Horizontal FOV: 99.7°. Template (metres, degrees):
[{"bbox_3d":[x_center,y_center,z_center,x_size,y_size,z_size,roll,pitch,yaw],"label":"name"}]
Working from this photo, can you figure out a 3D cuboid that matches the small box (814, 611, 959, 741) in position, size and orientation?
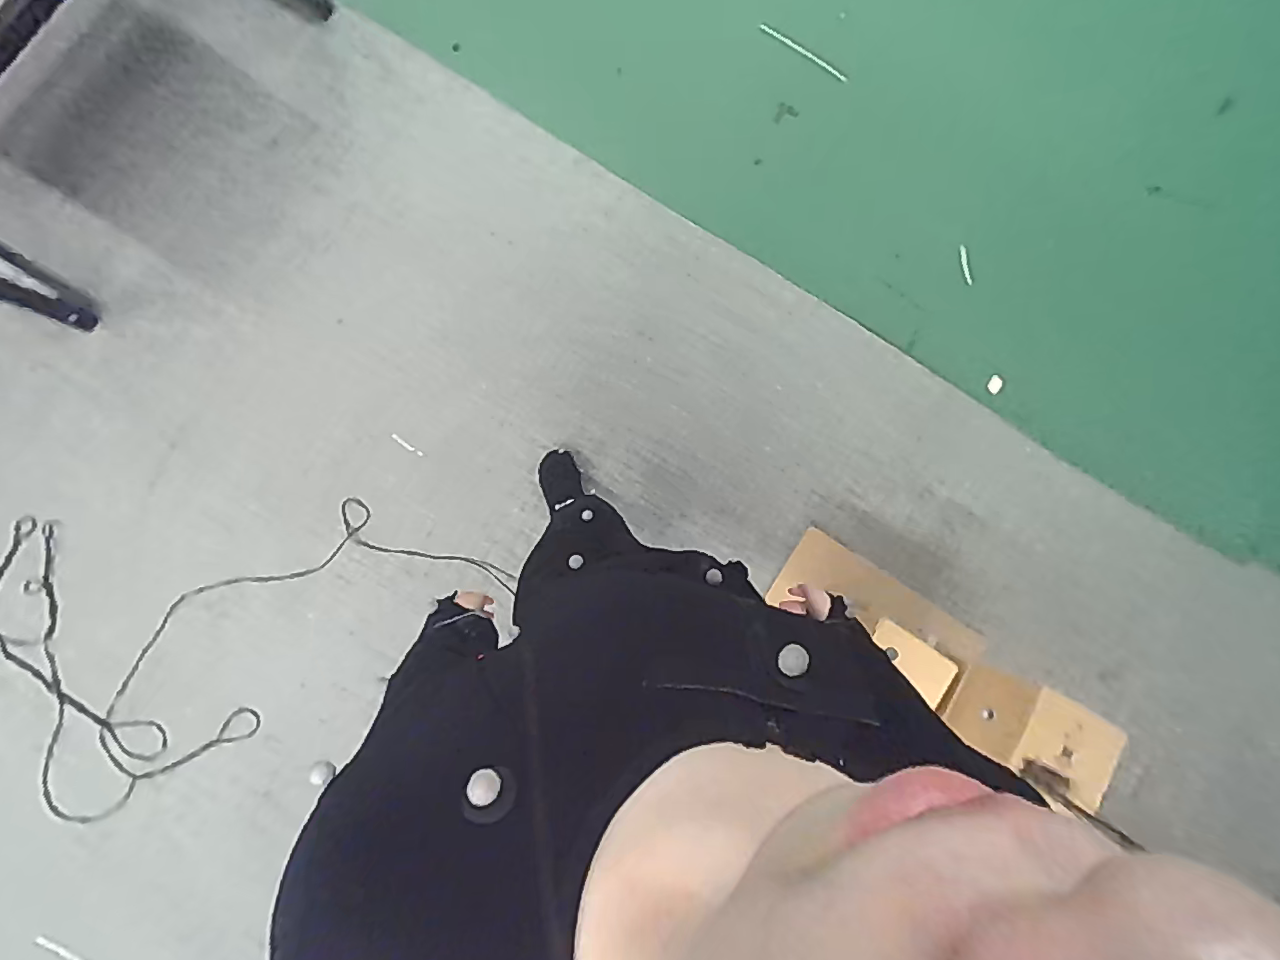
[{"bbox_3d":[0.493,0.387,1.107,0.179,0.176,0.168,34,85,2],"label":"small box"}]
